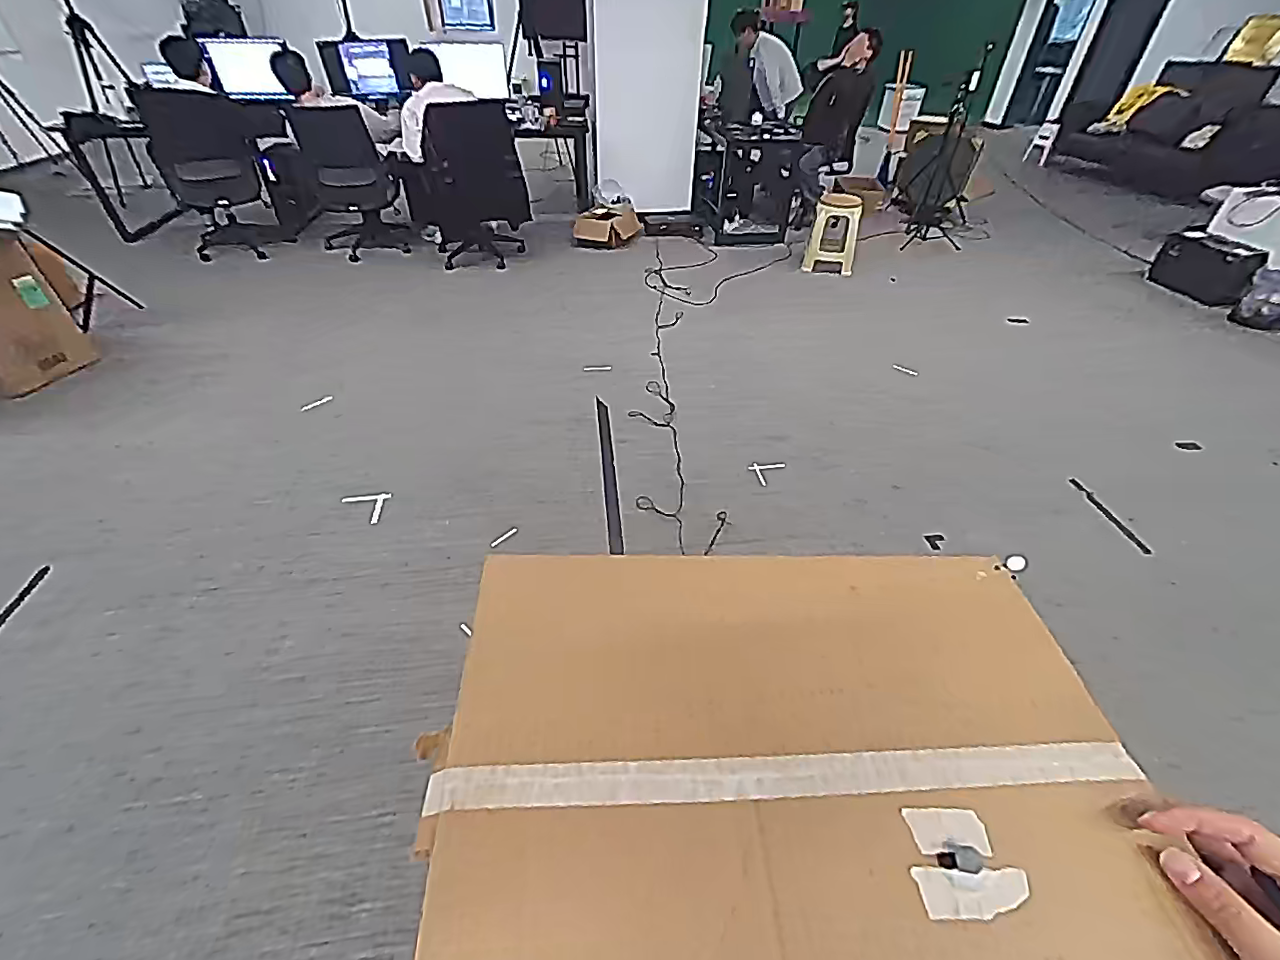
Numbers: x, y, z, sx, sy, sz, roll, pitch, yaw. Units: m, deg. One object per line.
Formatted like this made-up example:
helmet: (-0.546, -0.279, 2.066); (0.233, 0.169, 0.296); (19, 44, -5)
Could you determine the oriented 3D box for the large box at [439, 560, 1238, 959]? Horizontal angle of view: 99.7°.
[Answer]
large box: (0.083, 0.277, 0.423); (0.408, 0.320, 0.320); (2, 45, -6)
